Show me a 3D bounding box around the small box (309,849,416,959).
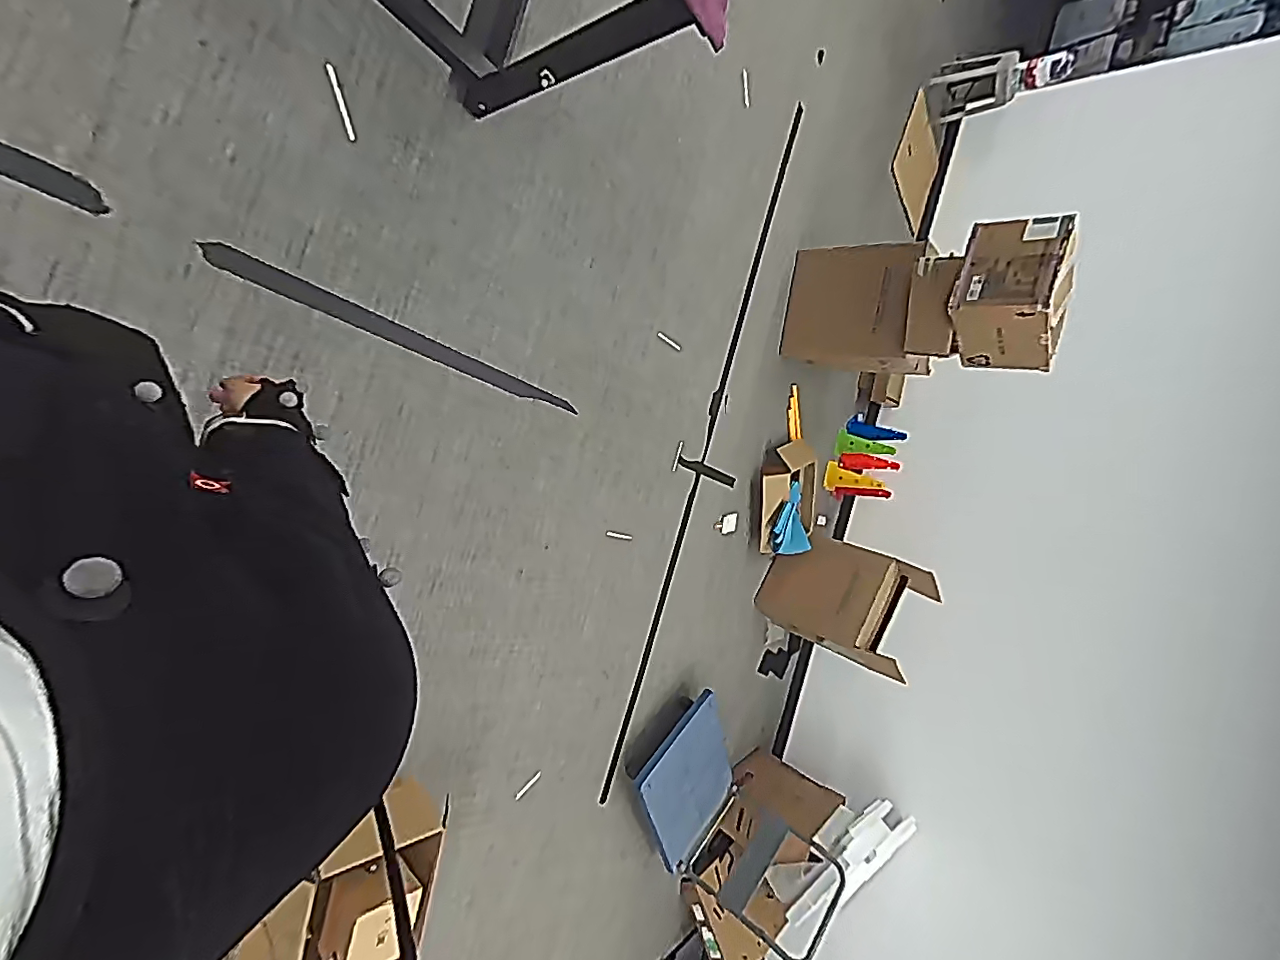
[{"bbox_3d":[-0.687,1.066,1.330,0.168,0.176,0.179,15,89,-51],"label":"small box"}]
